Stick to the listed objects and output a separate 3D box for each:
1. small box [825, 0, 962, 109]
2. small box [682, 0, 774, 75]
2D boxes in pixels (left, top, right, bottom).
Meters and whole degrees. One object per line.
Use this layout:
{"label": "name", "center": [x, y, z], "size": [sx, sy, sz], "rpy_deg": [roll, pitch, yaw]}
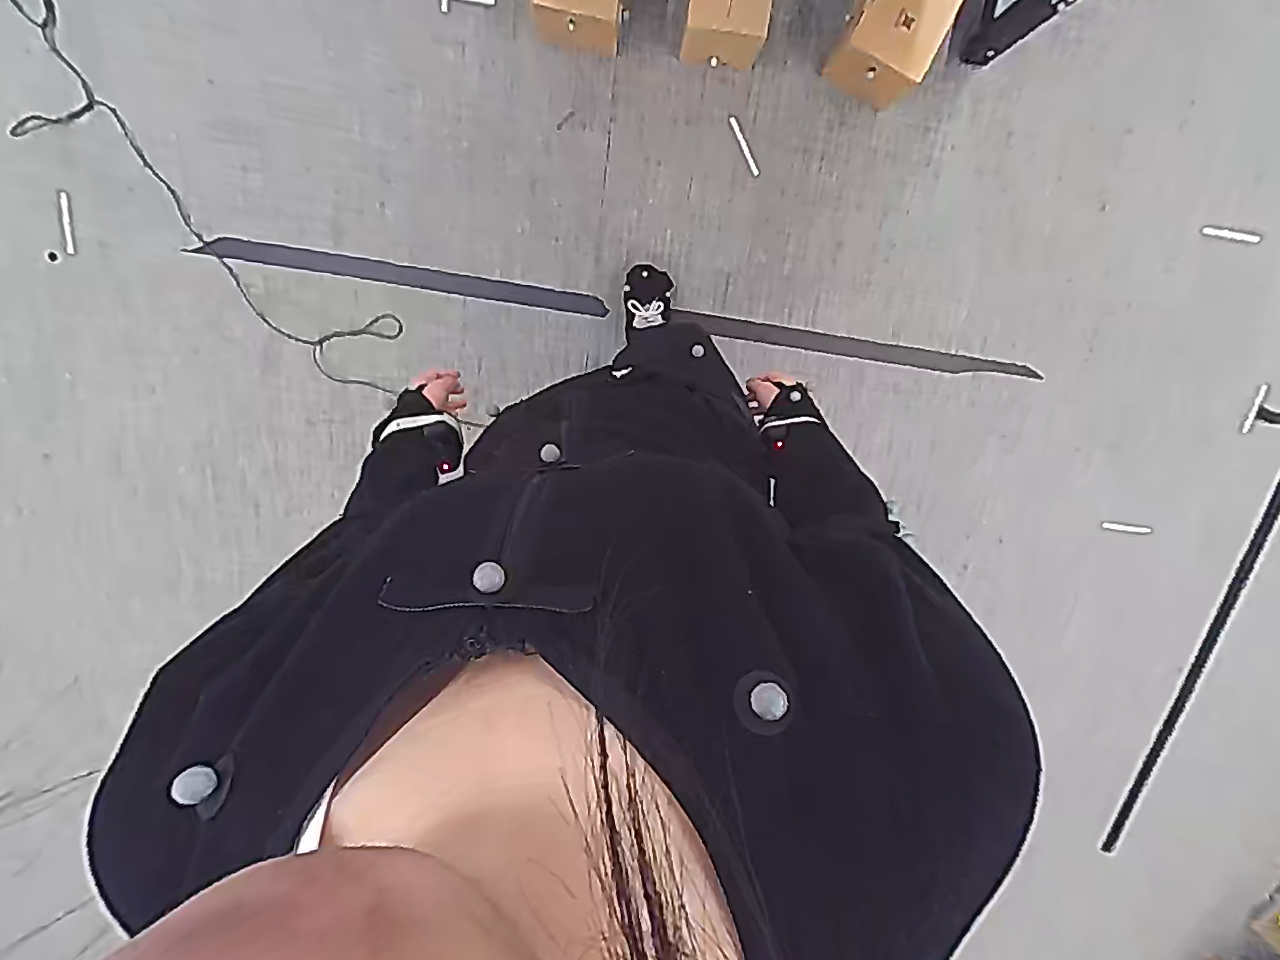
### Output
{"label": "small box", "center": [0.535, -0.942, 1.169], "size": [0.179, 0.176, 0.168], "rpy_deg": [24, 105, -7]}
{"label": "small box", "center": [0.184, -1.001, 1.139], "size": [0.168, 0.176, 0.179], "rpy_deg": [6, 107, -3]}
